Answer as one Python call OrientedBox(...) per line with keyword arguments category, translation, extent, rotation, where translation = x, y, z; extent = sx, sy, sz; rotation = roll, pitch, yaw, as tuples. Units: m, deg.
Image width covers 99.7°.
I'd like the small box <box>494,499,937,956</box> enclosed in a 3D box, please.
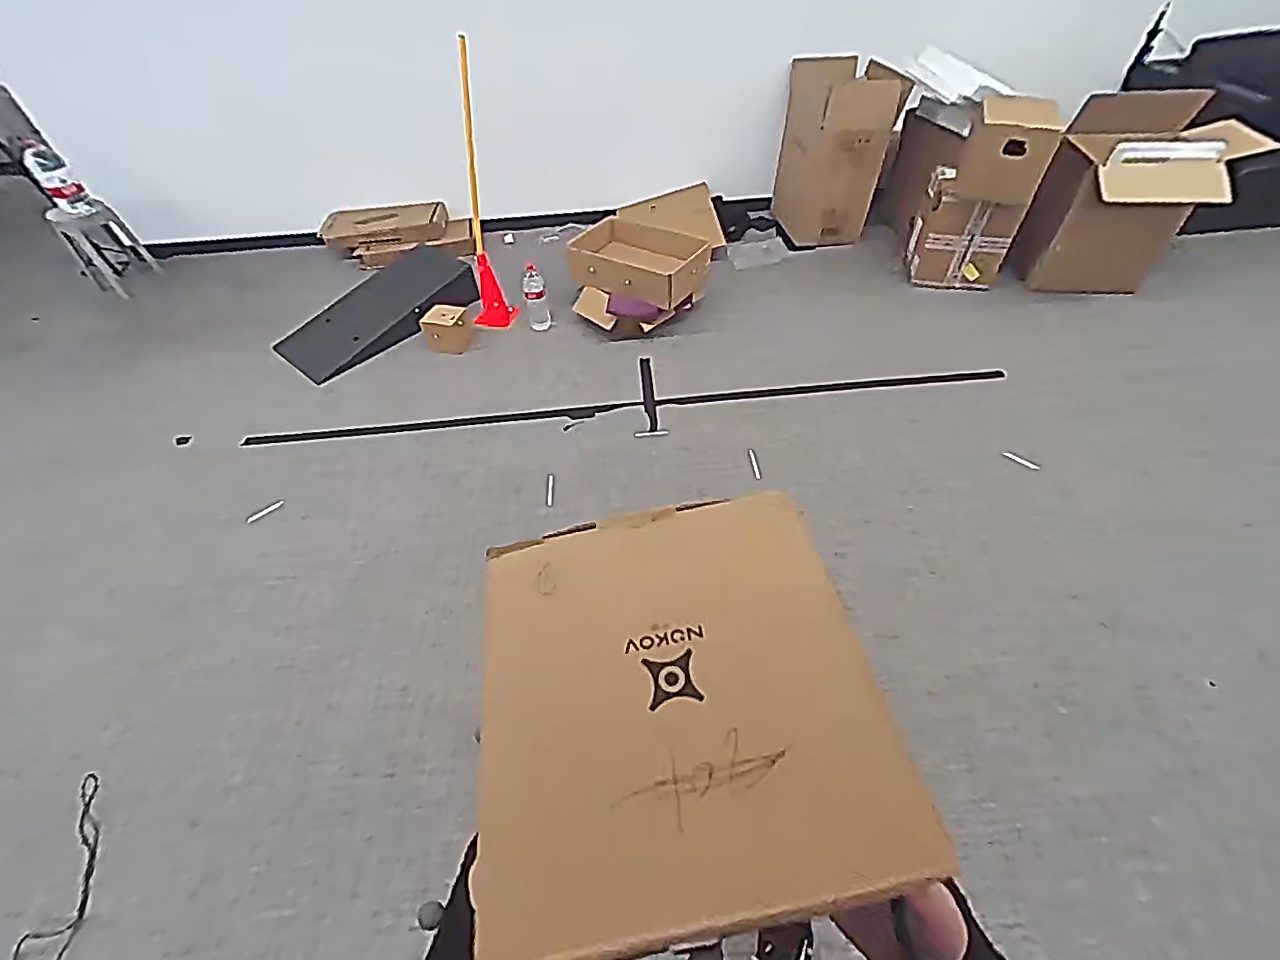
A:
OrientedBox(category="small box", translation=(0.022, 0.141, 0.307), extent=(0.168, 0.176, 0.179), rotation=(-12, 49, -3))
